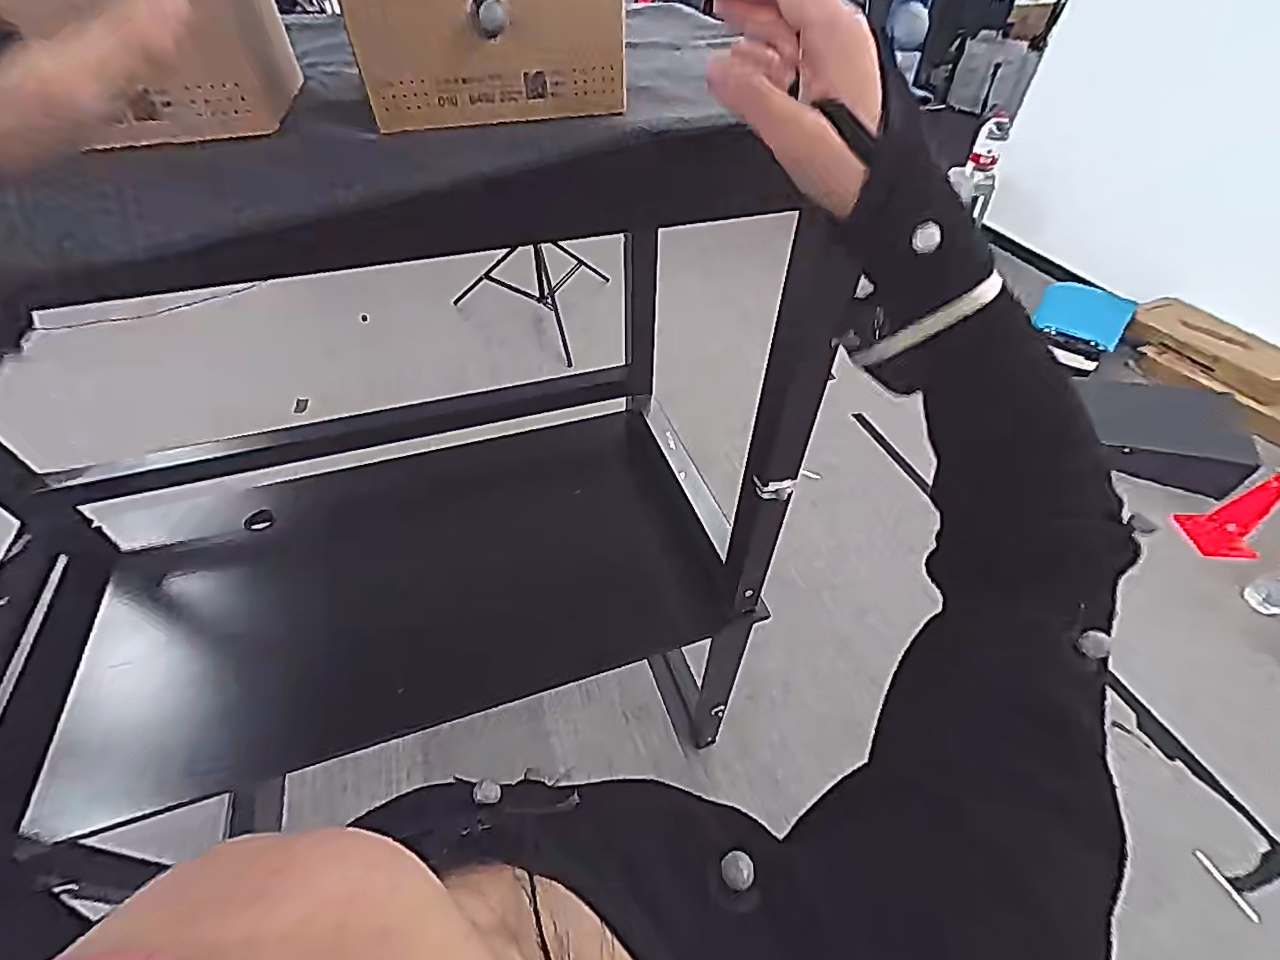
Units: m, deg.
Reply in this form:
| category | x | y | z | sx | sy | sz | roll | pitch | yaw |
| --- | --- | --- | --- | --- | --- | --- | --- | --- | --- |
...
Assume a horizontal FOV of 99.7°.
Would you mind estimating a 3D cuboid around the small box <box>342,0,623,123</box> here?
| category | x | y | z | sx | sy | sz | roll | pitch | yaw |
| --- | --- | --- | --- | --- | --- | --- | --- | --- | --- |
| small box | -0.112 | -0.353 | 0.355 | 0.168 | 0.176 | 0.179 | -14 | 48 | -12 |
